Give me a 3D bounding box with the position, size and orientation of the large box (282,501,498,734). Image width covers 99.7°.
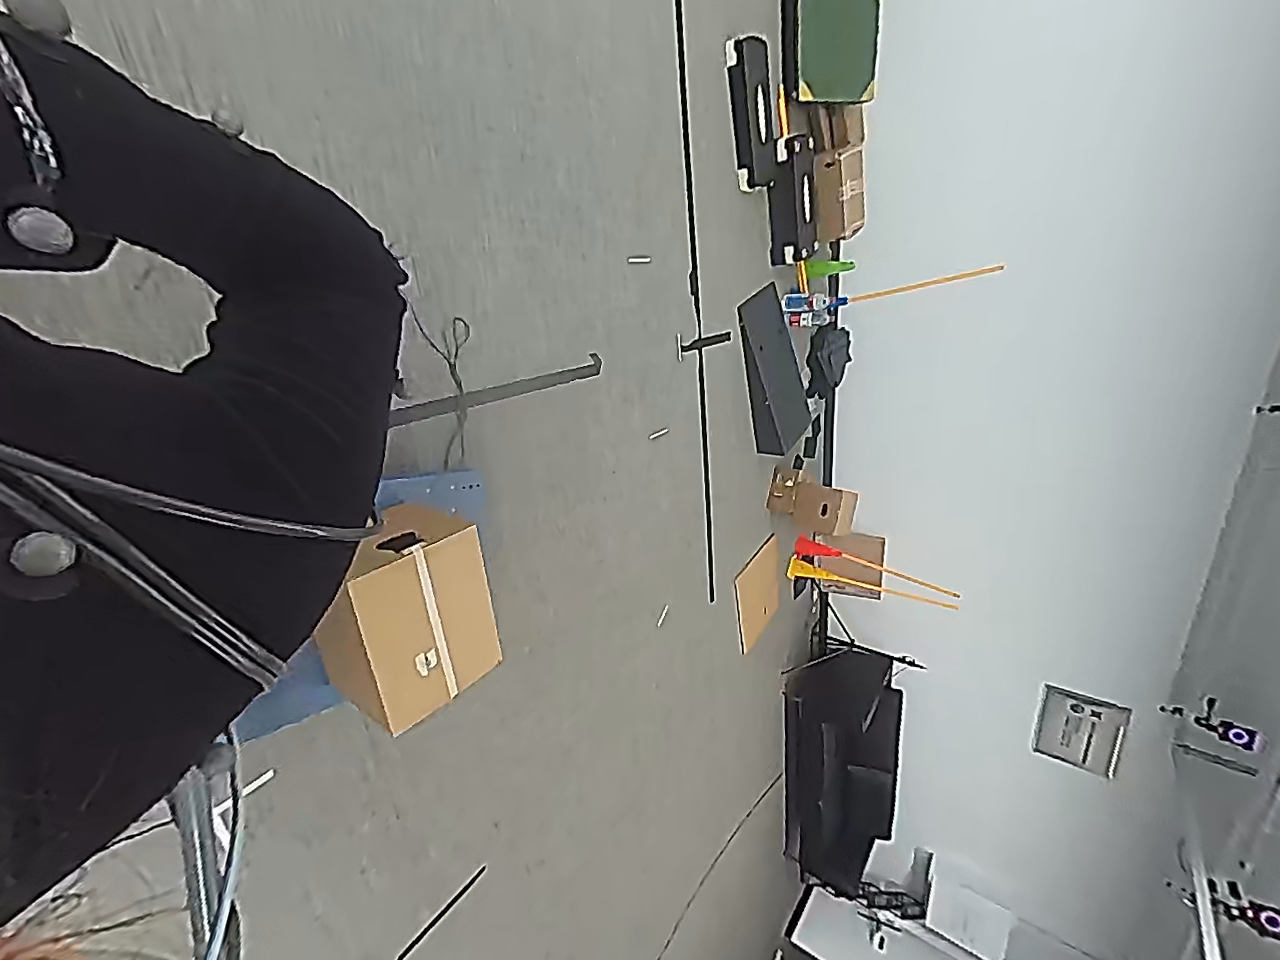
[{"bbox_3d":[-0.598,0.310,1.324,0.320,0.320,0.408,-27,120,-47],"label":"large box"}]
